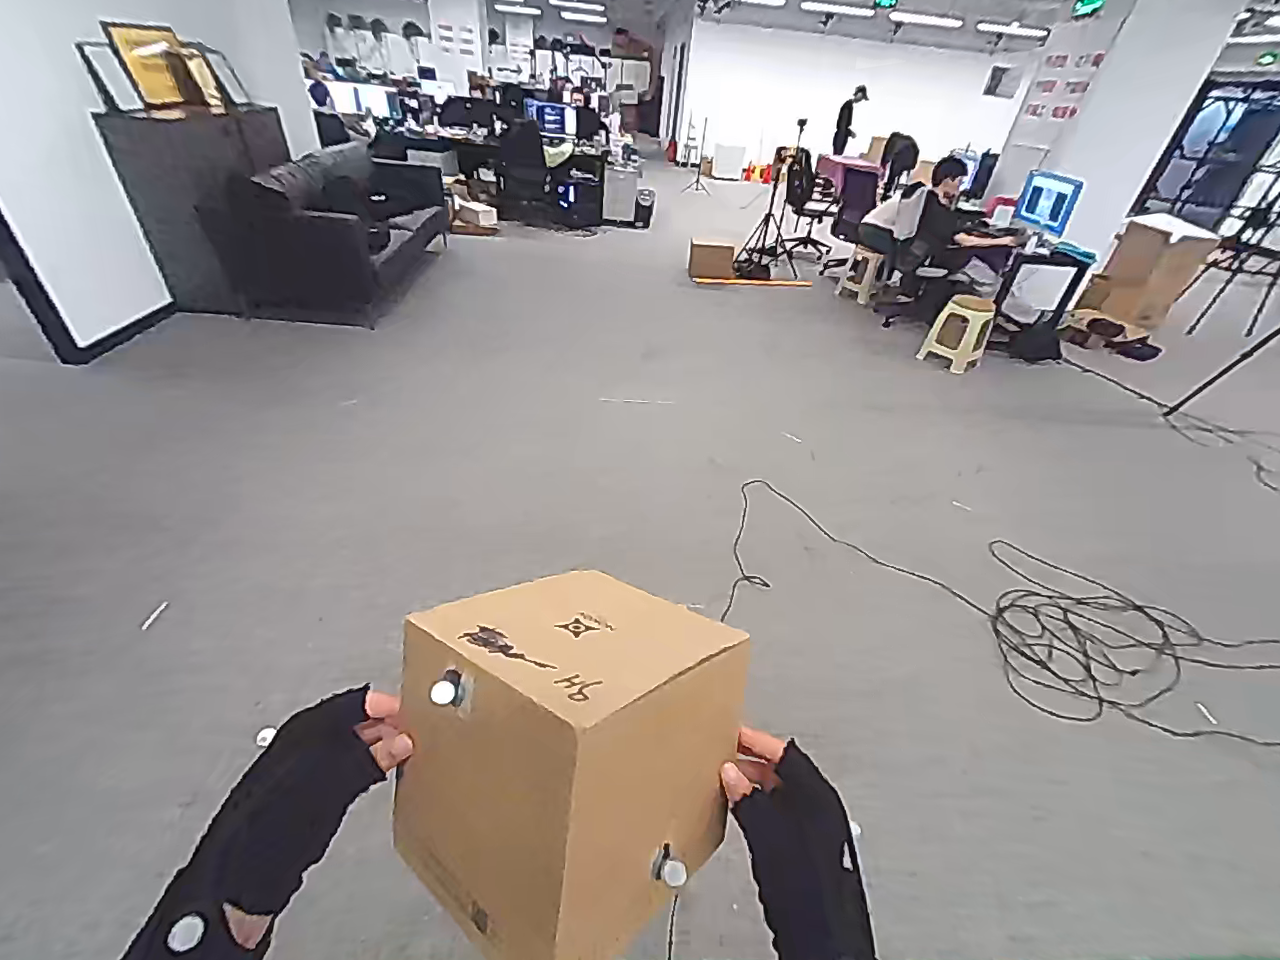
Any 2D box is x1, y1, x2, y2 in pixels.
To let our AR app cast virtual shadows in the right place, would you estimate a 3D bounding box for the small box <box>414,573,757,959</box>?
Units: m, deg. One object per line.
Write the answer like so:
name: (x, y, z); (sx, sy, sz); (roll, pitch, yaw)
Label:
small box: (-0.040, 0.182, 0.388); (0.168, 0.176, 0.179); (12, 9, 38)
